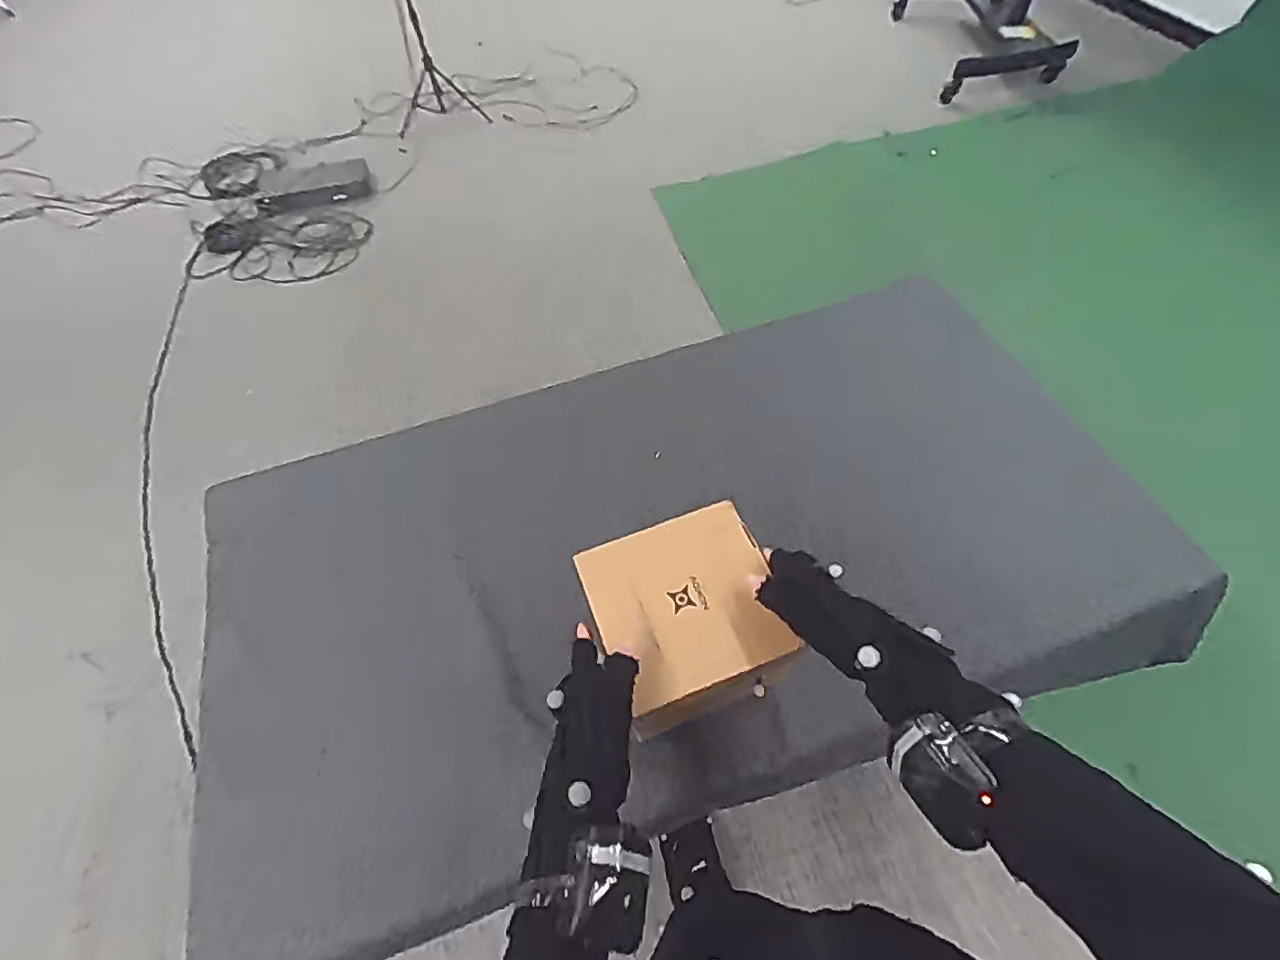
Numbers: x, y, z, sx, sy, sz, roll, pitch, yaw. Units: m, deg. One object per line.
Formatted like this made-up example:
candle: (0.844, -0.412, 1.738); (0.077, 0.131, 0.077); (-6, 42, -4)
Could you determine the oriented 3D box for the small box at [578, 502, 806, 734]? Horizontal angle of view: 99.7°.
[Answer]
small box: (0.048, 0.154, 0.587); (0.179, 0.176, 0.168); (-20, 59, -8)
